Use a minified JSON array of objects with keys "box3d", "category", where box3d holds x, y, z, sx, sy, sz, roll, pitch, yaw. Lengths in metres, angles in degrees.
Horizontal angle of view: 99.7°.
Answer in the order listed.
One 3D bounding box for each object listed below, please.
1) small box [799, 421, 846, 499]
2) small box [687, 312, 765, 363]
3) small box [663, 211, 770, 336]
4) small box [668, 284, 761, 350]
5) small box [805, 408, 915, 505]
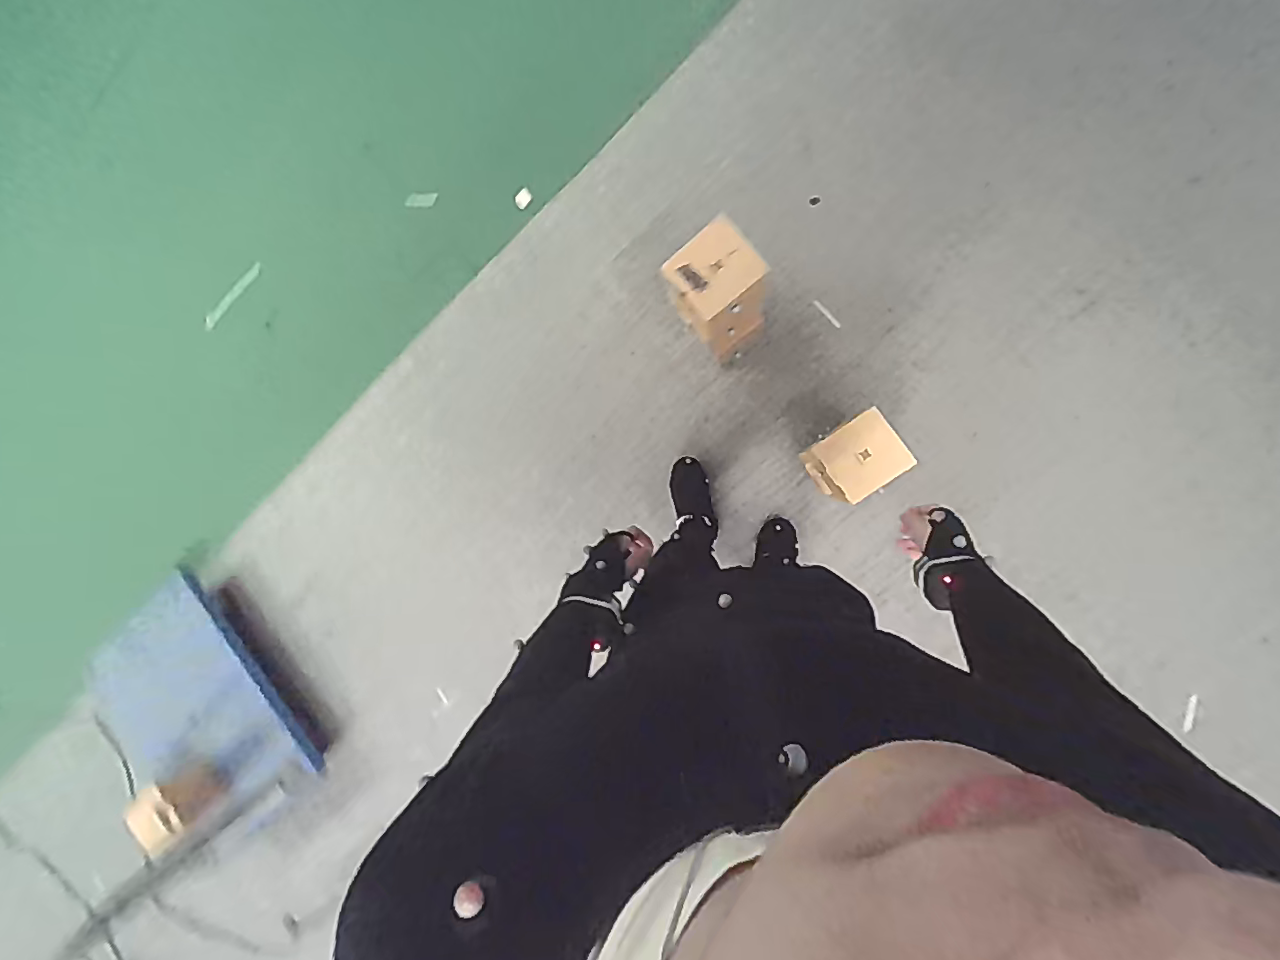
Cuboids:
[{"box3d":[0.553,-0.061,1.483,0.179,0.176,0.168,-29,83,11],"category":"small box"},{"box3d":[0.238,-0.459,1.548,0.168,0.176,0.179,-36,84,10],"category":"small box"},{"box3d":[0.178,-0.455,1.225,0.179,0.176,0.168,-37,83,9],"category":"small box"},{"box3d":[0.199,-0.459,1.389,0.179,0.176,0.168,-37,84,11],"category":"small box"},{"box3d":[0.528,-0.057,1.325,0.179,0.176,0.168,-35,84,10],"category":"small box"}]
